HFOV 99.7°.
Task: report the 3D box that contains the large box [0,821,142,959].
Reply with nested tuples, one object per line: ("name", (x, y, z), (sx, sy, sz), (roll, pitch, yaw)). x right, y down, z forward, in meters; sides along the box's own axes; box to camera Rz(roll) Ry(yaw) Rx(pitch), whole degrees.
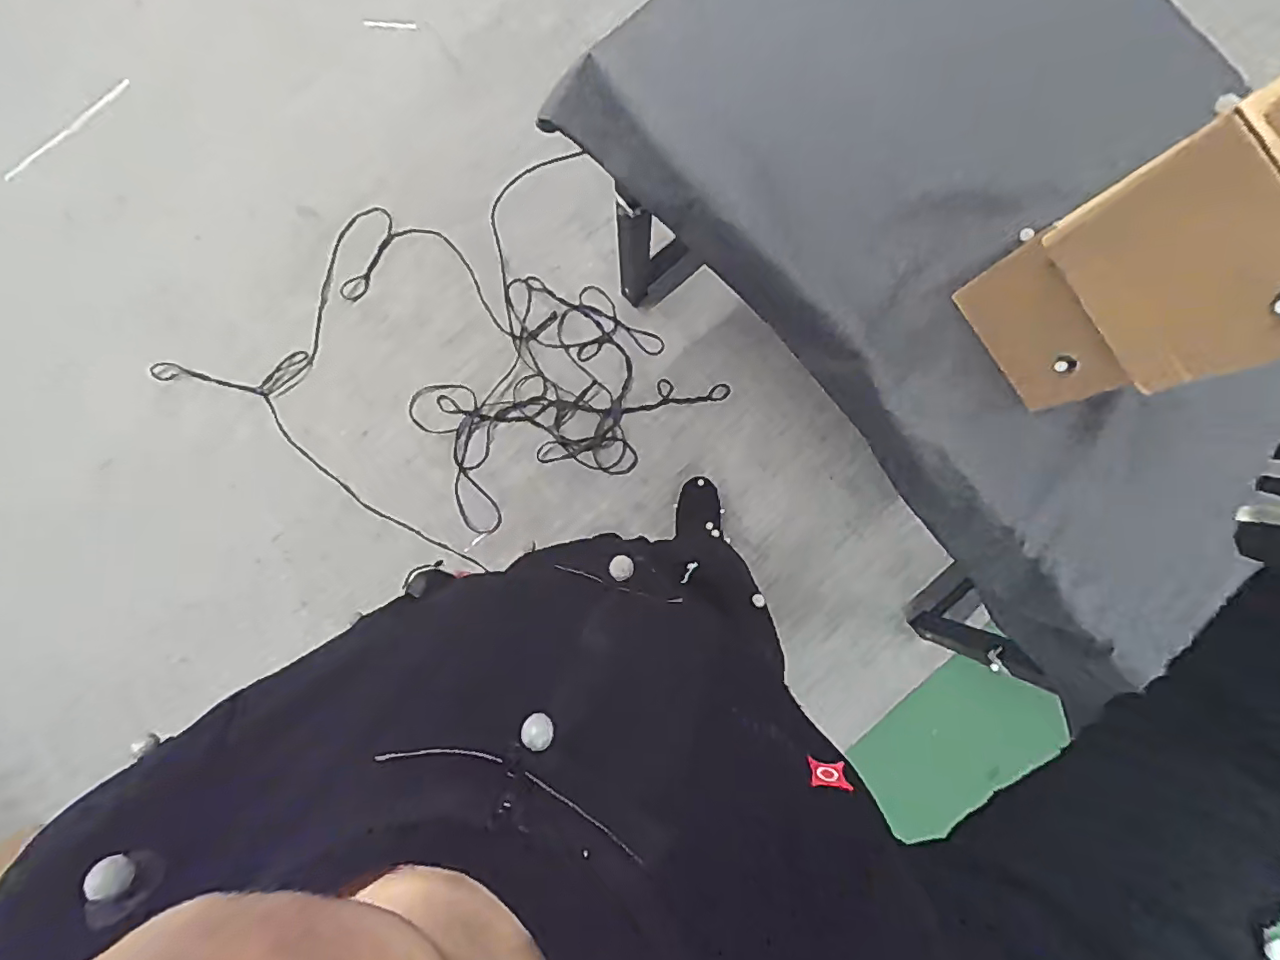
("large box", (-1.425, 1.057, 1.149), (0.320, 0.320, 0.408), (-41, 87, -3))

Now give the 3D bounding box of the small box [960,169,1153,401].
("small box", (0.505, -0.202, 0.589), (0.168, 0.176, 0.179), (-33, 87, -4))

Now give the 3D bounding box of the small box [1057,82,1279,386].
("small box", (0.493, -0.199, 0.426), (0.168, 0.176, 0.179), (-31, 88, -4))
